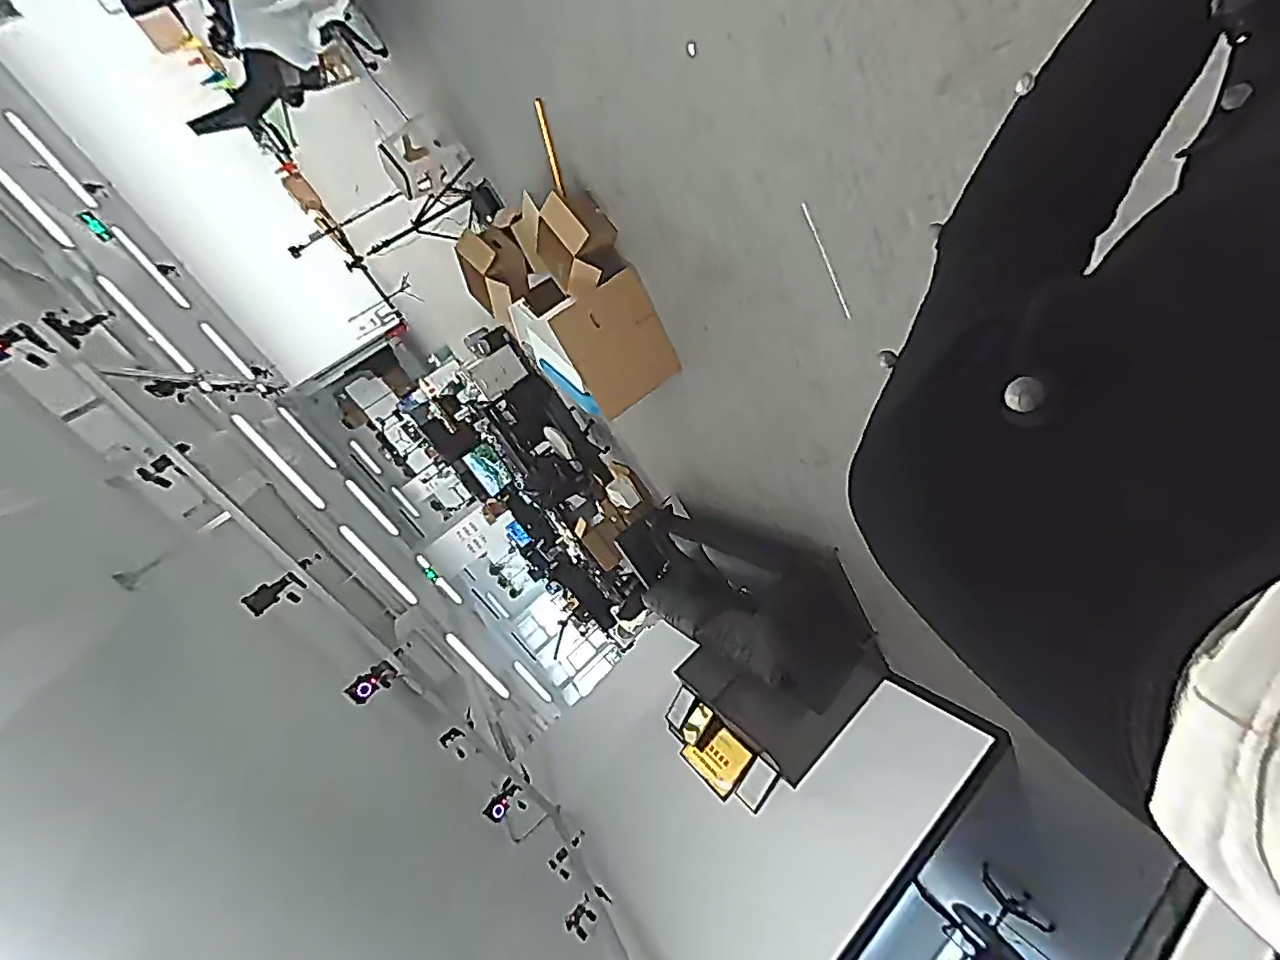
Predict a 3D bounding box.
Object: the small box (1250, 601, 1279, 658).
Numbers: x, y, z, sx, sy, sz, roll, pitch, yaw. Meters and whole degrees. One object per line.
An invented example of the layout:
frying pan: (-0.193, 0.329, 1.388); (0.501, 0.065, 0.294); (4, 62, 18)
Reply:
small box: (1.529, 0.410, 1.231); (0.168, 0.176, 0.179); (24, 149, 55)

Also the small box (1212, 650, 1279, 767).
small box: (1.407, 0.509, 1.185); (0.168, 0.176, 0.179); (22, 149, 55)
